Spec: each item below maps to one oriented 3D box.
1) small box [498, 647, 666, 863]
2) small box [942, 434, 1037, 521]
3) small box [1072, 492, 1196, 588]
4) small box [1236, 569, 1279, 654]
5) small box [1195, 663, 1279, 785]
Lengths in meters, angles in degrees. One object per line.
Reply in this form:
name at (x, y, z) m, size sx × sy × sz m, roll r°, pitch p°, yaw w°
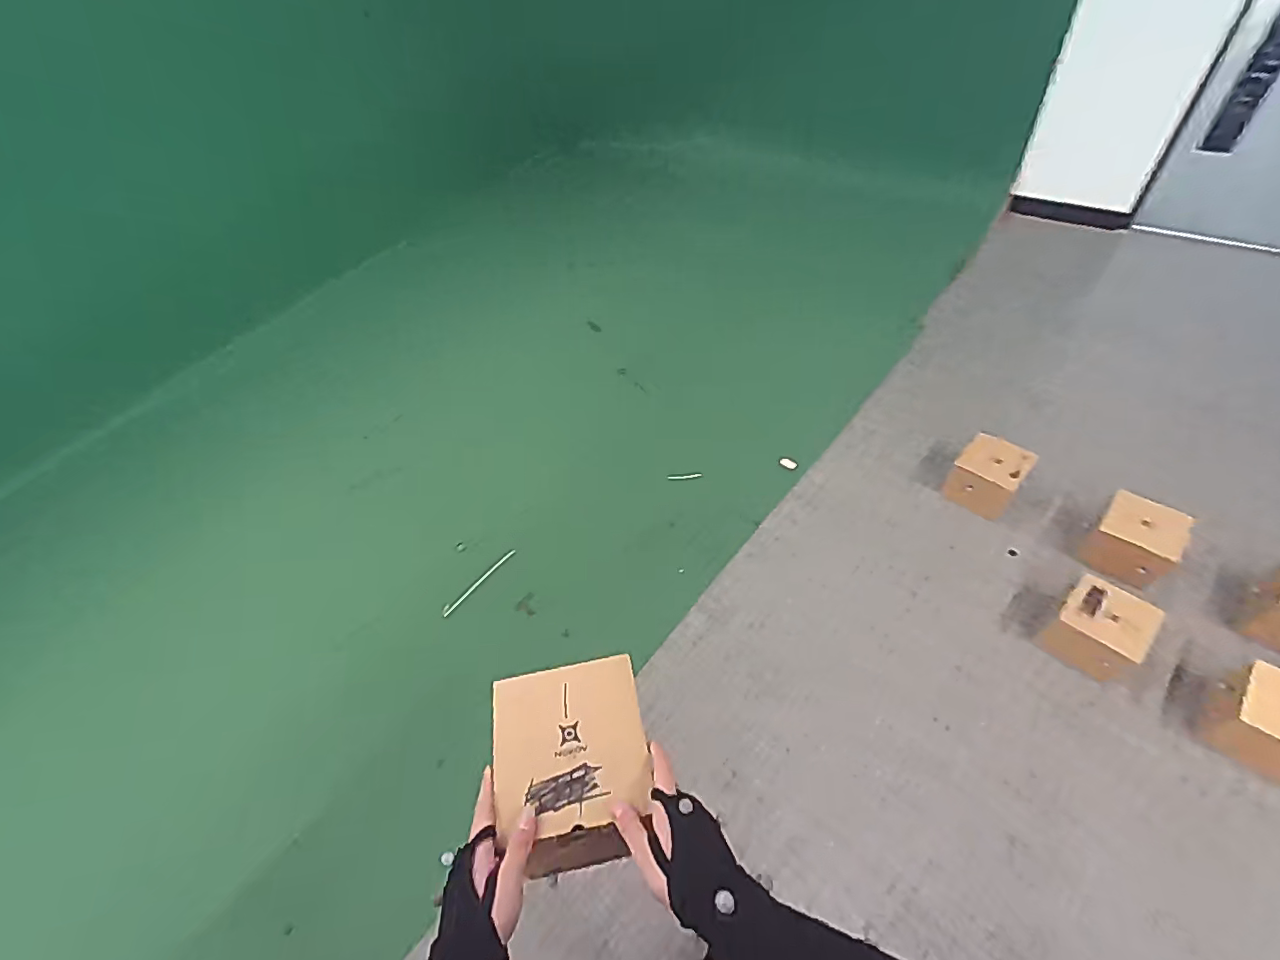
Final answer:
small box at (-0.065, 0.328, 0.638) m, size 0.168 × 0.176 × 0.179 m, roll -9°, pitch 45°, yaw -5°
small box at (1.073, -0.003, 1.676) m, size 0.179 × 0.176 × 0.168 m, roll 35°, pitch 67°, yaw 32°
small box at (1.346, 0.171, 1.482) m, size 0.179 × 0.176 × 0.168 m, roll 32°, pitch 65°, yaw 31°
small box at (1.613, 0.328, 1.301) m, size 0.179 × 0.176 × 0.168 m, roll 31°, pitch 66°, yaw 30°
small box at (1.396, 0.544, 1.192) m, size 0.179 × 0.176 × 0.168 m, roll 31°, pitch 65°, yaw 29°
